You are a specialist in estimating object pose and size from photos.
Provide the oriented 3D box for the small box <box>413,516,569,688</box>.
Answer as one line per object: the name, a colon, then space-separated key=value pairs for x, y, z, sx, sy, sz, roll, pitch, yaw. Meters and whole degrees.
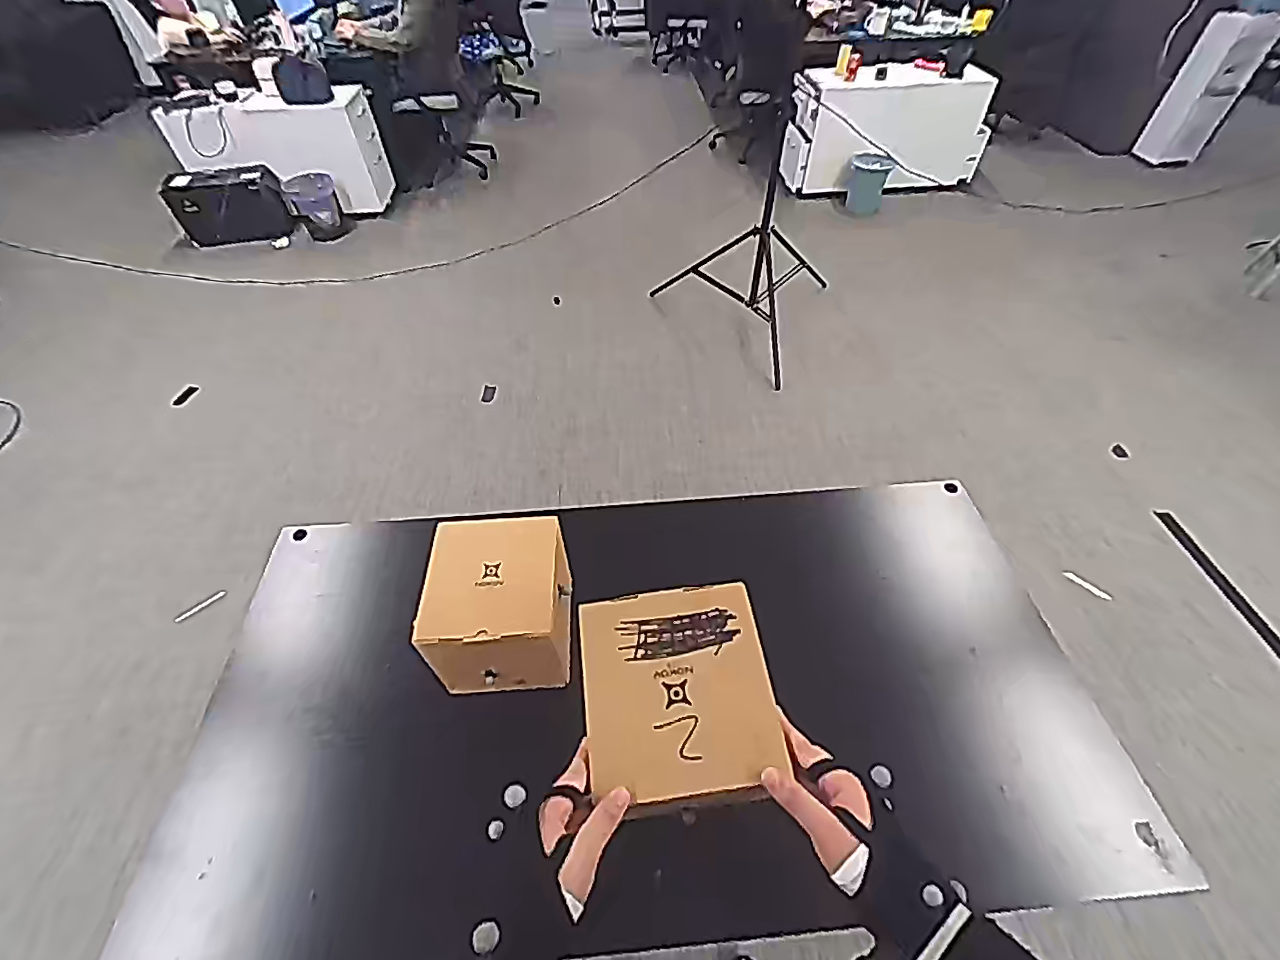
small box: x=-0.192 y=0.171 z=0.754 sx=0.168 sy=0.176 sz=0.179 roll=-3 pitch=50 yaw=-2
